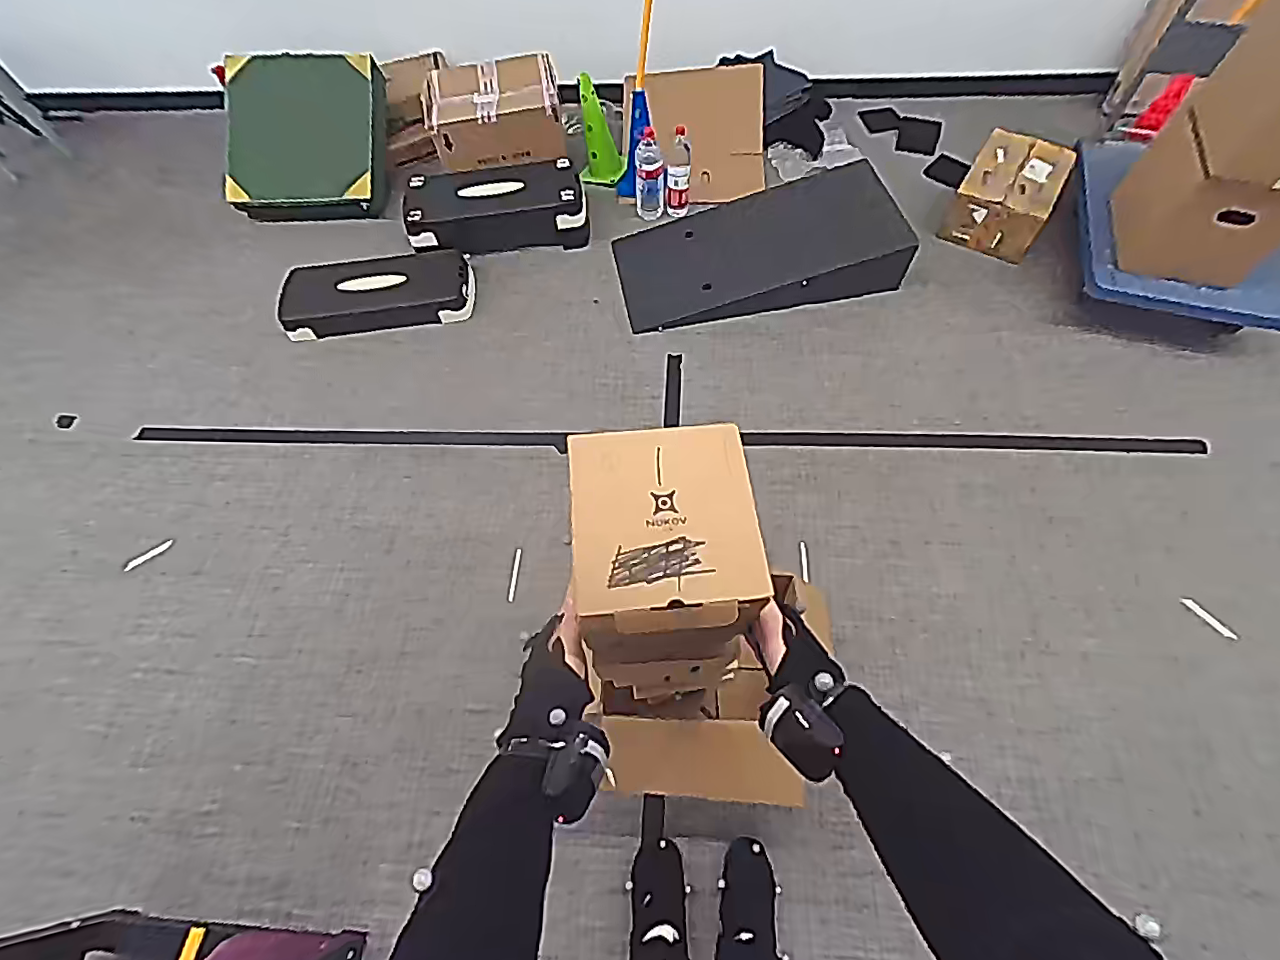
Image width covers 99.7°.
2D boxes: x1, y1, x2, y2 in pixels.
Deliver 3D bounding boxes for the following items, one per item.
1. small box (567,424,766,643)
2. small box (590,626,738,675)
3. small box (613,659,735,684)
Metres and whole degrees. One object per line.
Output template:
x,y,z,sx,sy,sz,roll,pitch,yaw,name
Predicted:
0.017,0.064,0.551,0.168,0.176,0.179,-4,63,-4,small box
0.023,0.152,0.693,0.168,0.176,0.179,-2,65,-3,small box
0.039,0.221,0.840,0.179,0.176,0.168,-3,66,-3,small box
